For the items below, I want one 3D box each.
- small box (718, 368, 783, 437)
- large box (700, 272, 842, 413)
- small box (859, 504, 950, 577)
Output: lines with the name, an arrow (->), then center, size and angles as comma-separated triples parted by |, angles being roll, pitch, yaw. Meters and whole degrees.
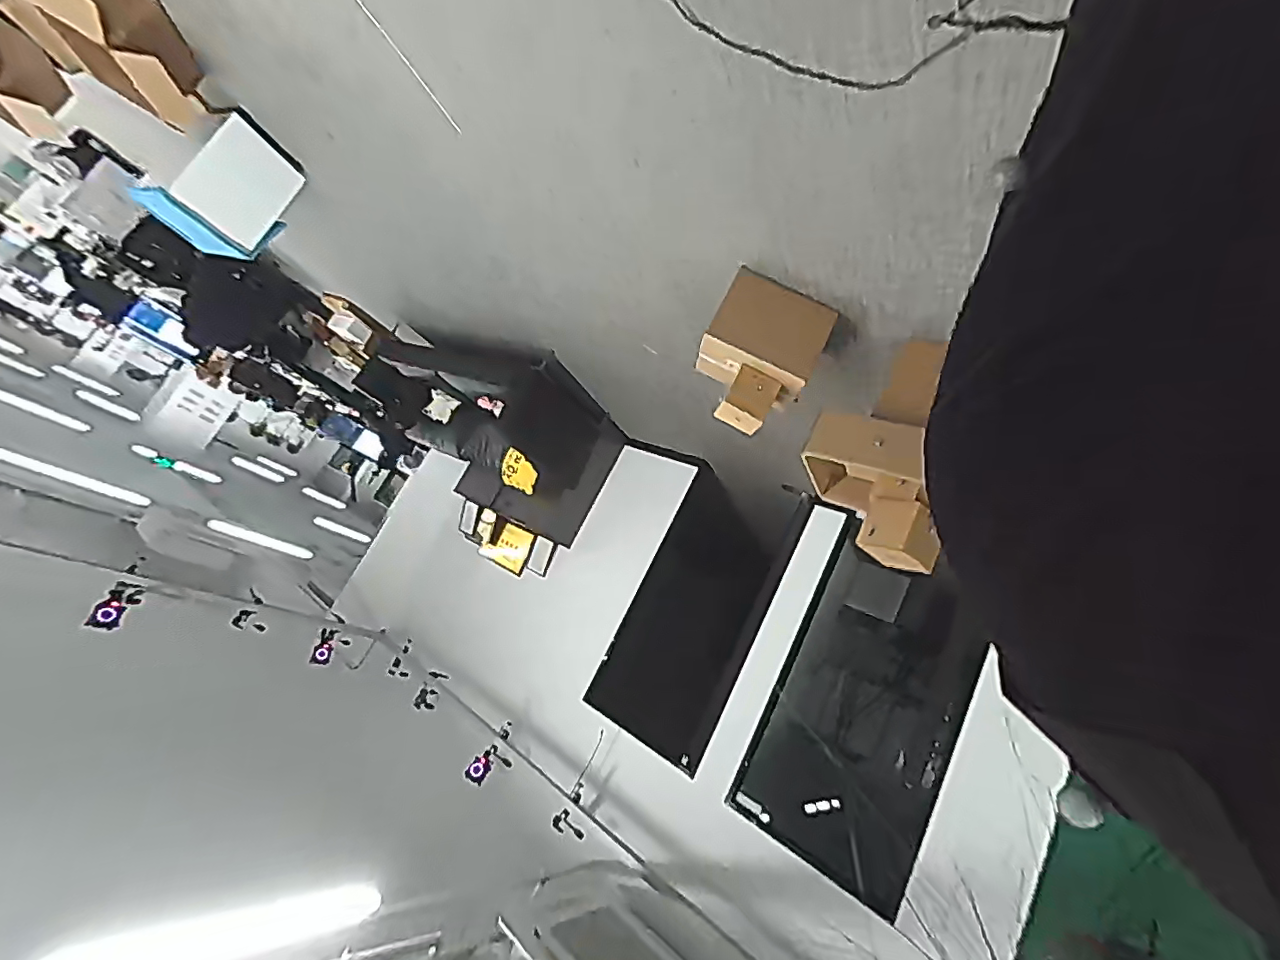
small box -> 0.416, -0.289, 2.034 | 0.168, 0.176, 0.179 | 28, 169, 2
large box -> 0.492, -0.521, 2.079 | 0.408, 0.320, 0.320 | 28, 168, 6
small box -> 0.849, 0.187, 1.733 | 0.168, 0.176, 0.179 | 33, 166, -24
